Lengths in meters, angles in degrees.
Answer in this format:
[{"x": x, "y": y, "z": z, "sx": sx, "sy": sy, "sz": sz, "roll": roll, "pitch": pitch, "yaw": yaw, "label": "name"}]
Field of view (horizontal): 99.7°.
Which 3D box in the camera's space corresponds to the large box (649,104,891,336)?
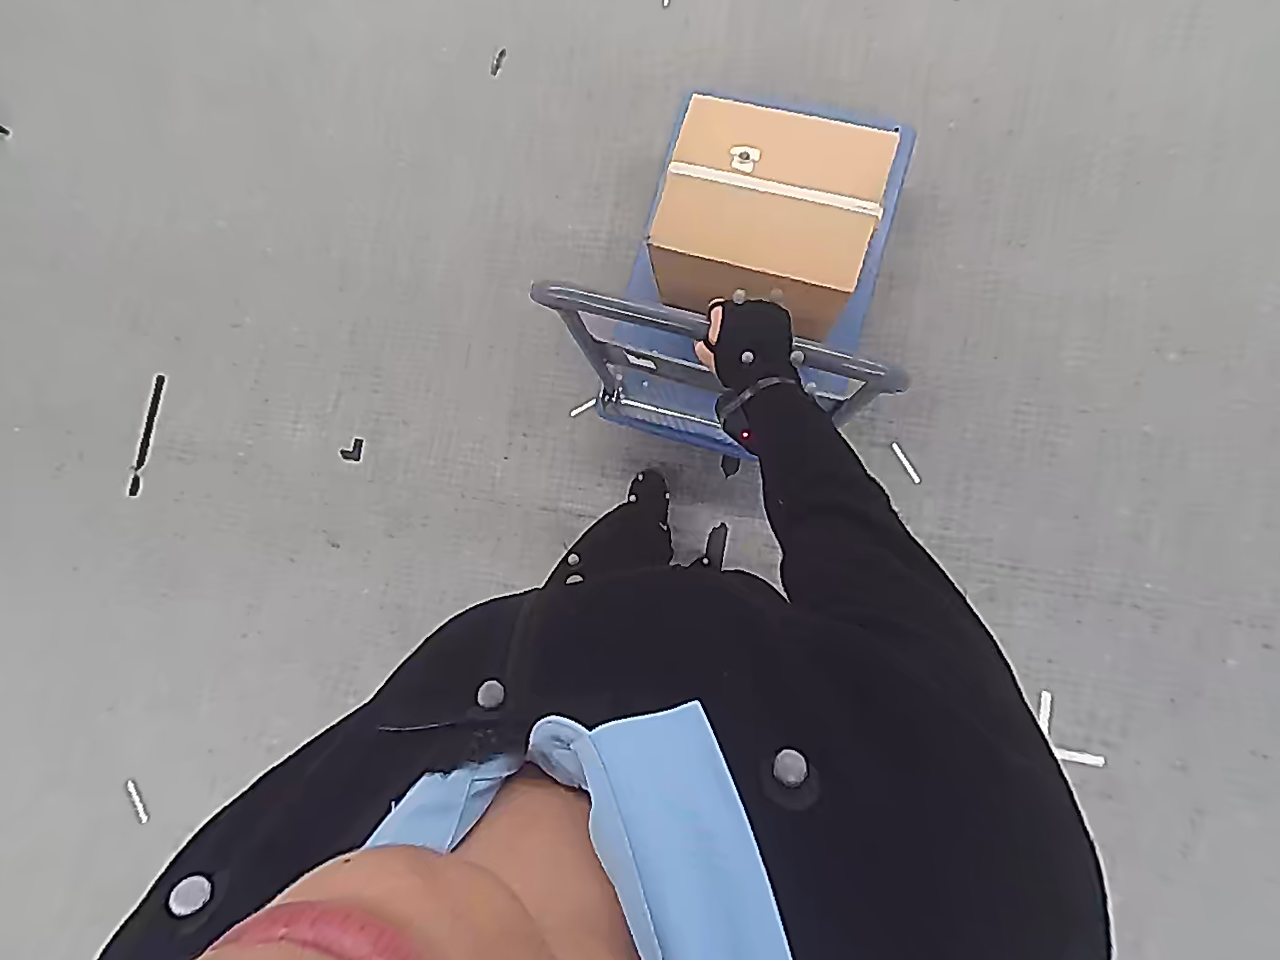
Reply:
[{"x": 0.270, "y": -0.547, "z": 1.191, "sx": 0.408, "sy": 0.320, "sz": 0.320, "roll": 16, "pitch": 88, "yaw": 9, "label": "large box"}]
